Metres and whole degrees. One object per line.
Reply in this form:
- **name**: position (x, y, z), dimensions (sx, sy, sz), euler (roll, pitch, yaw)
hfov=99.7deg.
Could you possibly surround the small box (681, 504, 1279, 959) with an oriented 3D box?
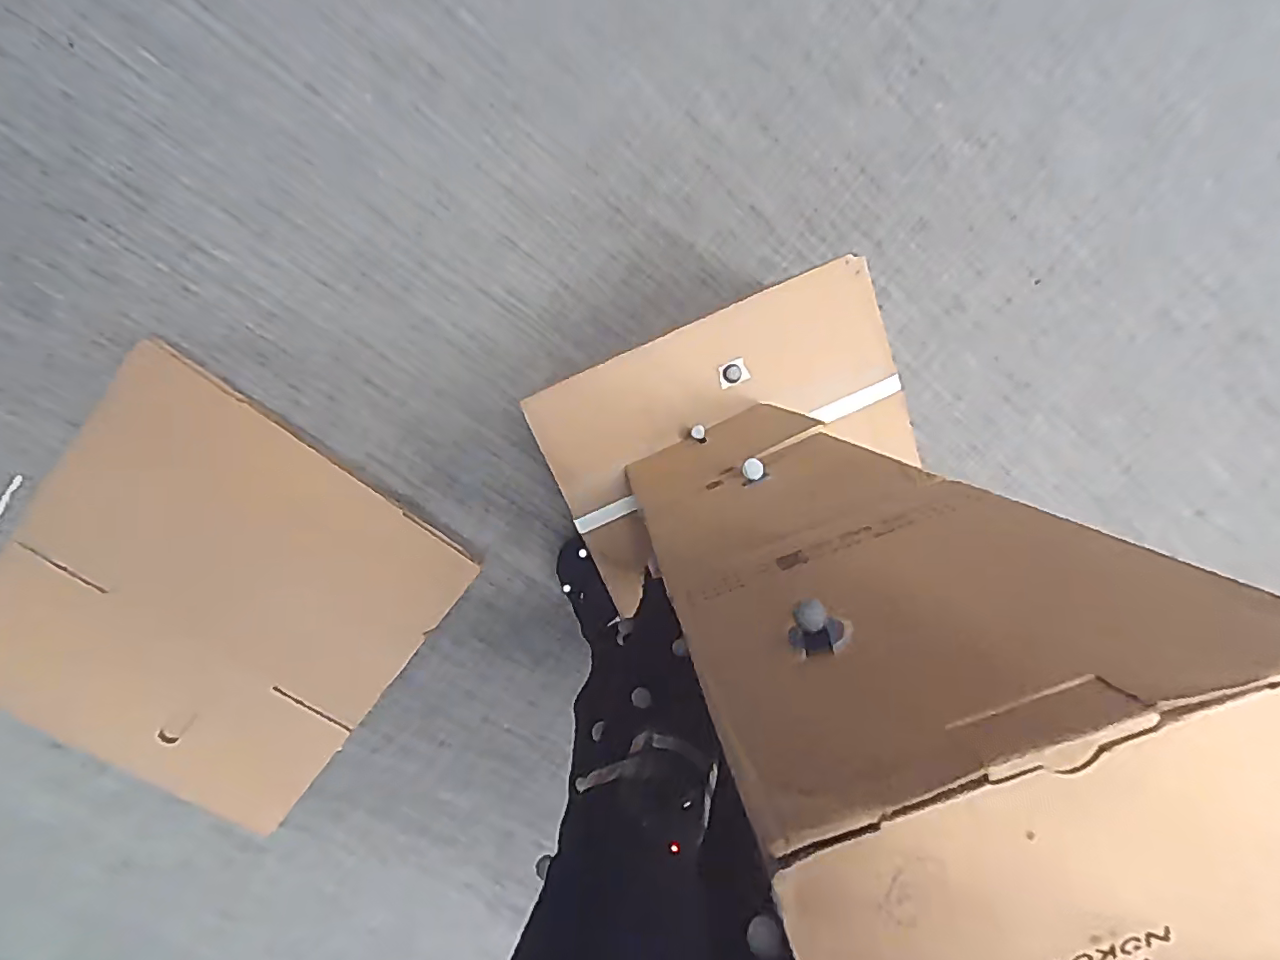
- **small box**: position (0.127, 0.123, 0.238), dimensions (0.168, 0.176, 0.179), euler (-20, 105, 1)

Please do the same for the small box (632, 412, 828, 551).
- **small box**: position (0.102, 0.043, 0.555), dimensions (0.179, 0.176, 0.168), euler (-28, 102, 1)

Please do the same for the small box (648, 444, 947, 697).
- **small box**: position (0.114, 0.090, 0.395), dimensions (0.168, 0.176, 0.179), euler (-23, 103, 1)
